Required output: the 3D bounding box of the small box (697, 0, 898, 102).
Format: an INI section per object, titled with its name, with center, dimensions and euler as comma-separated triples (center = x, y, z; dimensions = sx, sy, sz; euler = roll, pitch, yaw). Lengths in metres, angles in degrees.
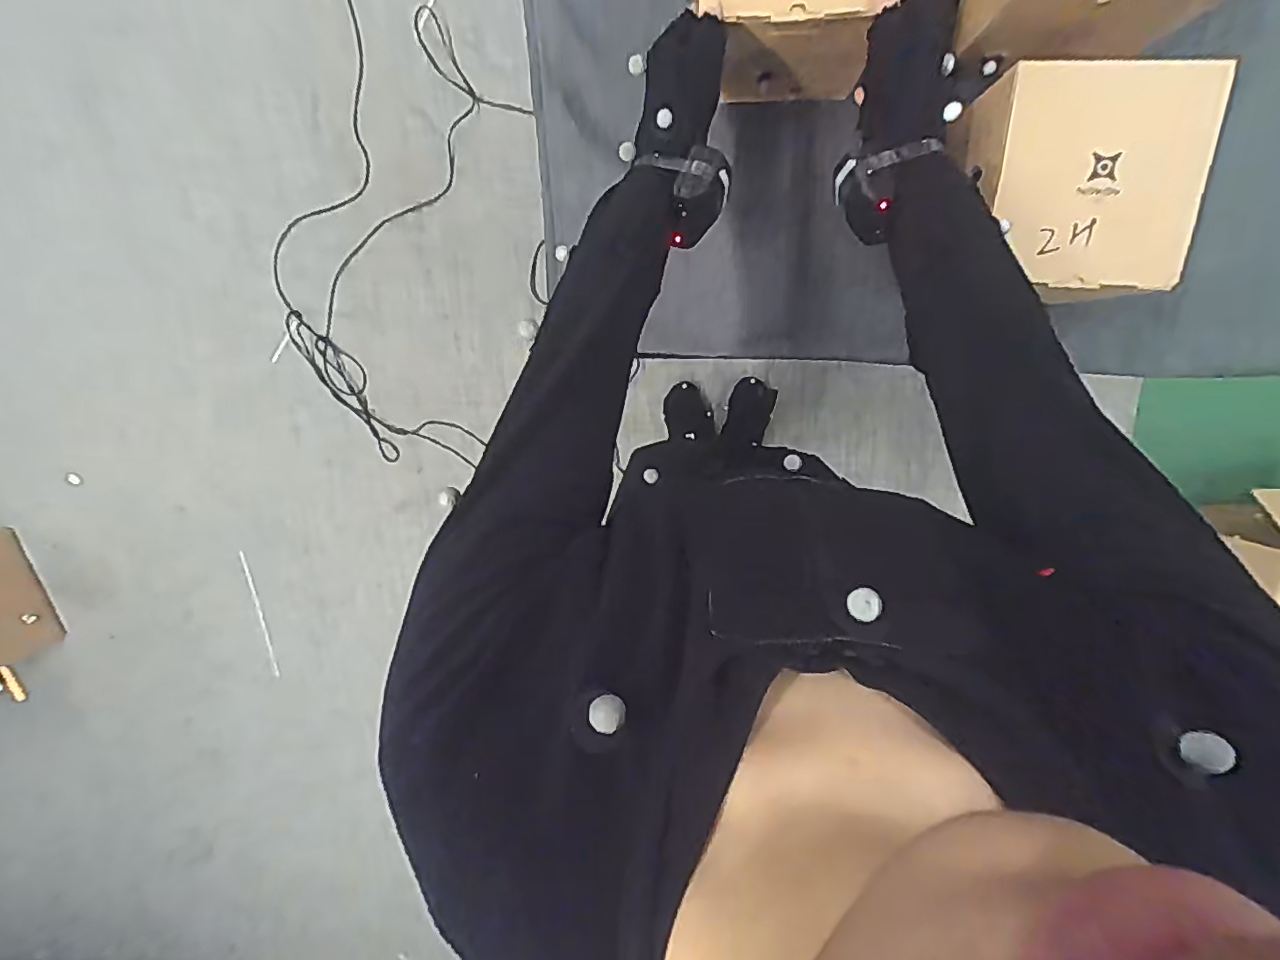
[small box]
center = 0.141, -0.490, 0.510
dimensions = 0.168, 0.176, 0.179
euler = 2, 106, 5
